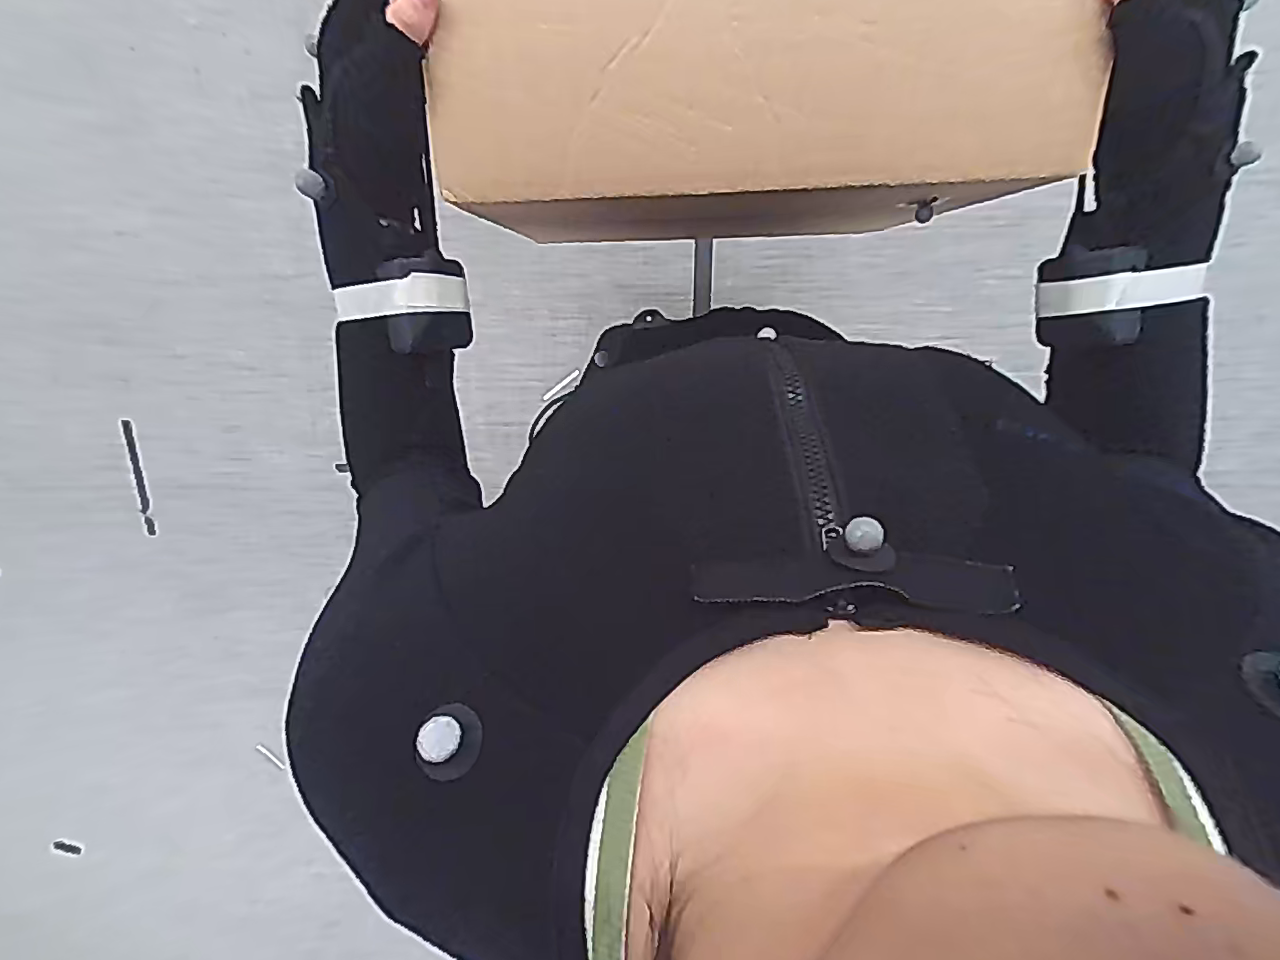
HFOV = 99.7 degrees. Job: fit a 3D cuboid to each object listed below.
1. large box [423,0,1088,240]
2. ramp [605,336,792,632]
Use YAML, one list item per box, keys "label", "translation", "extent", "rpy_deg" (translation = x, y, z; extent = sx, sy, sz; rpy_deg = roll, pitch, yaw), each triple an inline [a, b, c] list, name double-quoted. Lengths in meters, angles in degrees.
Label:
- label: "large box"
  translation: [0.069, -0.384, 0.445]
  extent: [0.408, 0.320, 0.320]
  rpy_deg: [-2, 109, 1]
- label: "ramp"
  translation: [0.164, 0.071, 1.631]
  extent: [0.509, 0.206, 0.991]
  rpy_deg: [-1, 107, 3]
